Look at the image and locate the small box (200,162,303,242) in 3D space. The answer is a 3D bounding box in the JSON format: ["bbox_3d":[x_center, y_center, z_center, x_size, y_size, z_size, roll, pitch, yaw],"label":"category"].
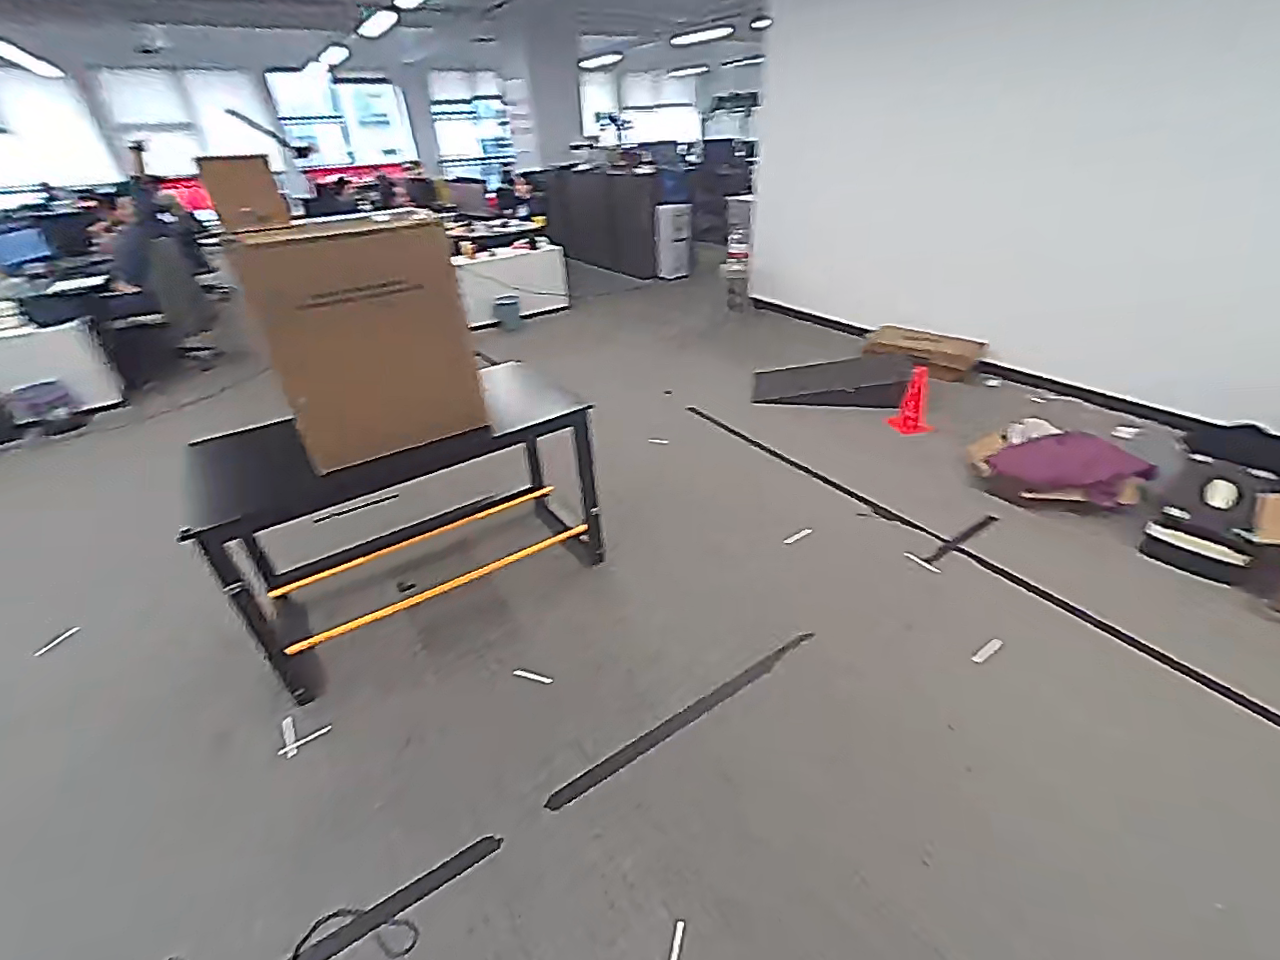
[{"bbox_3d":[-1.007,-0.723,1.404,0.168,0.176,0.179,-25,38,-29],"label":"small box"}]
